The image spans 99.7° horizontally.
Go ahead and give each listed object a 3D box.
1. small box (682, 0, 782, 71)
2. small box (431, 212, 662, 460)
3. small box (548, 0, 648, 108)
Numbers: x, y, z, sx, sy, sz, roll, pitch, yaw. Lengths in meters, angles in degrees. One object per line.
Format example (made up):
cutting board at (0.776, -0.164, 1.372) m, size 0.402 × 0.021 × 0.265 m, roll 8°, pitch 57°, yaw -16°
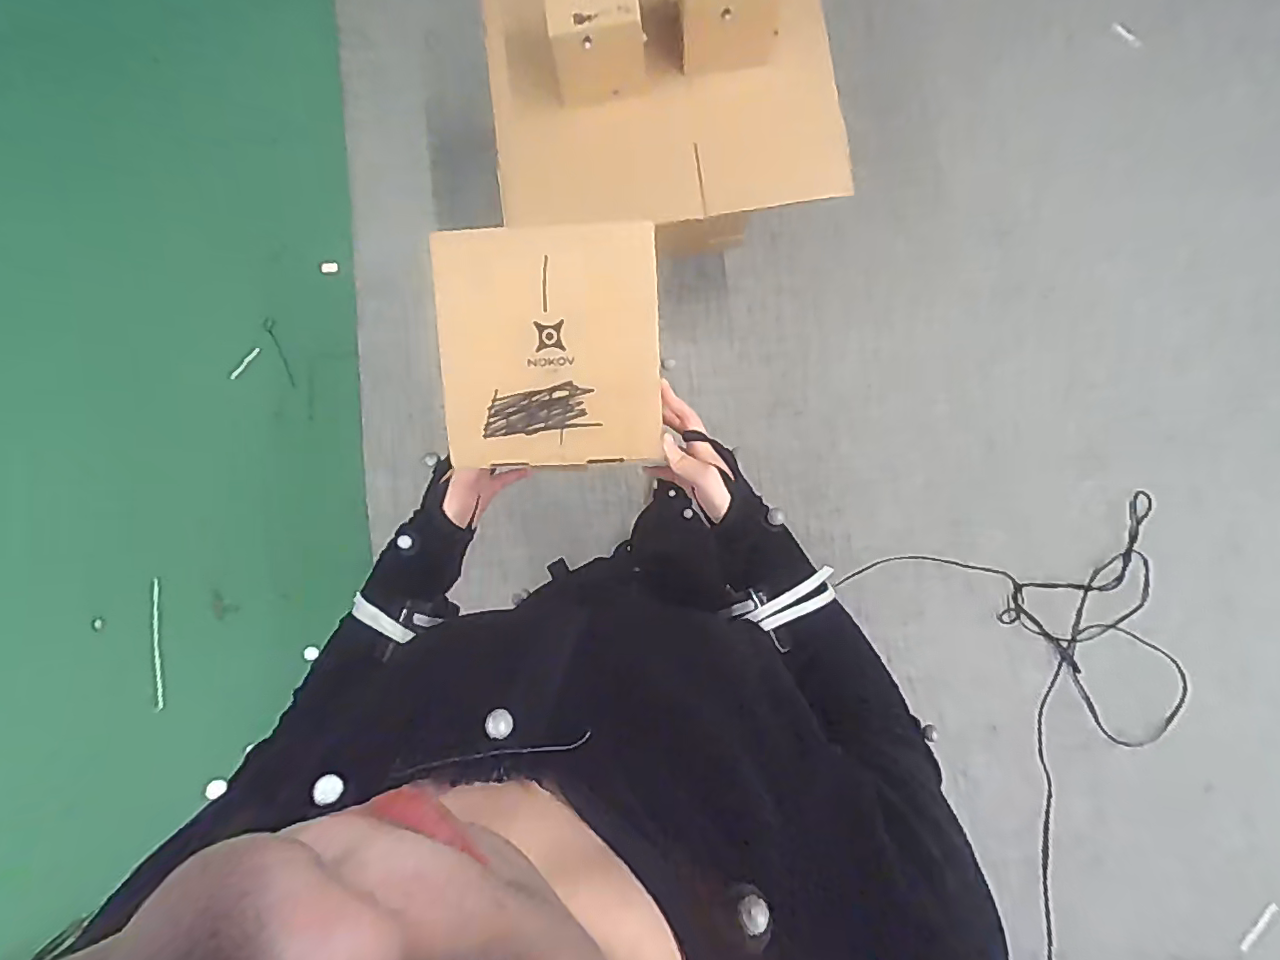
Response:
small box at (0.168, -0.911, 1.012) m, size 0.179 × 0.176 × 0.168 m, roll -4°, pitch 86°, yaw 4°
small box at (-0.065, -0.114, 0.481) m, size 0.168 × 0.176 × 0.179 m, roll -2°, pitch 97°, yaw 3°
small box at (-0.079, -0.854, 1.020) m, size 0.168 × 0.176 × 0.179 m, roll -8°, pitch 84°, yaw 3°
